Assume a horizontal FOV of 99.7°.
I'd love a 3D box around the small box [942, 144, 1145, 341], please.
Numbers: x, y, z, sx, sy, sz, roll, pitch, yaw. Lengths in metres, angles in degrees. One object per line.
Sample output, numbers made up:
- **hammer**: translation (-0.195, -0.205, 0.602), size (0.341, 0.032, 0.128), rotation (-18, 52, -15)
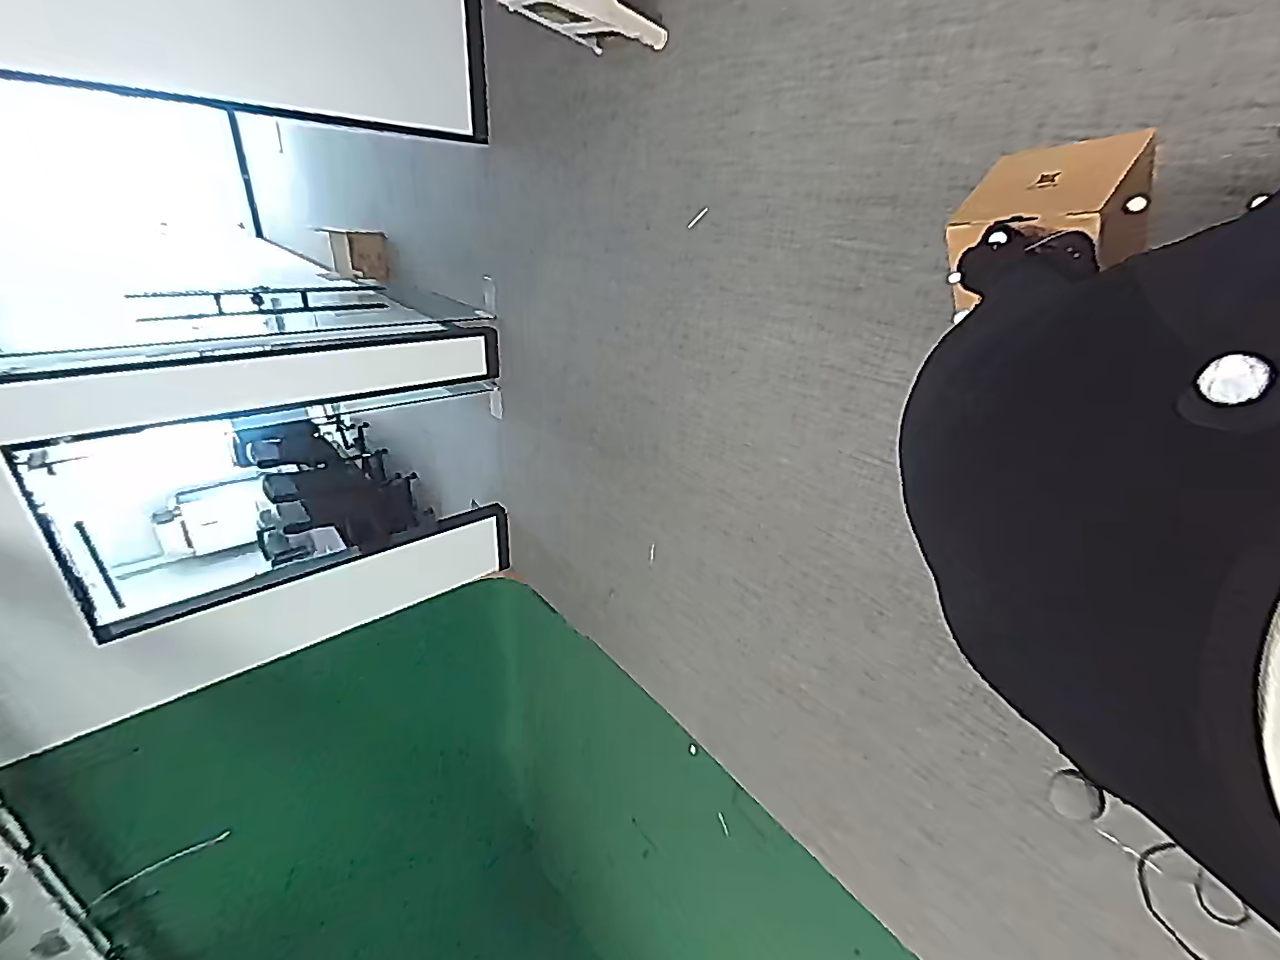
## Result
- **small box**: translation (0.541, -0.315, 0.736), size (0.168, 0.179, 0.176), rotation (22, 153, 48)
